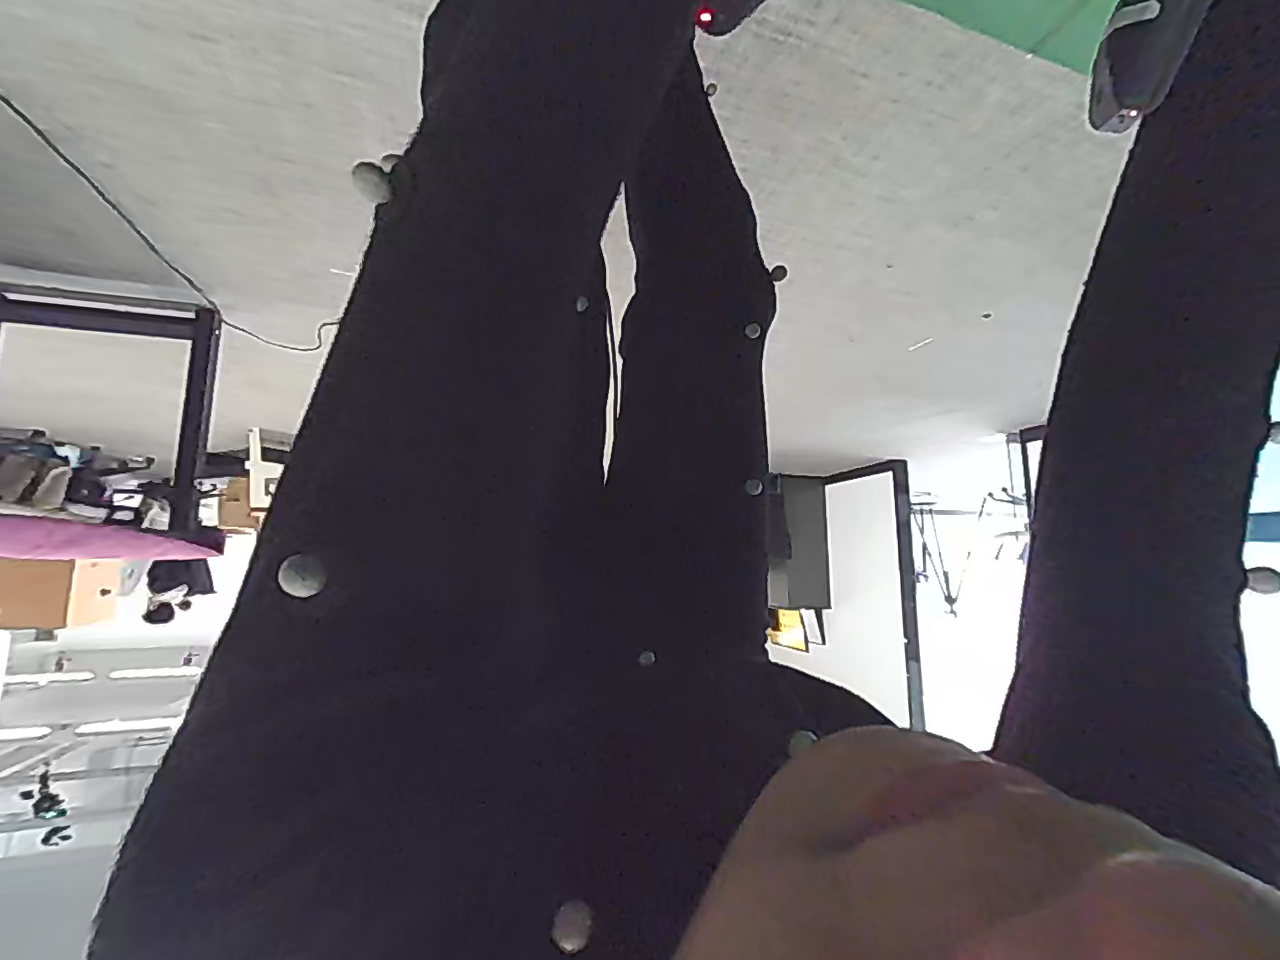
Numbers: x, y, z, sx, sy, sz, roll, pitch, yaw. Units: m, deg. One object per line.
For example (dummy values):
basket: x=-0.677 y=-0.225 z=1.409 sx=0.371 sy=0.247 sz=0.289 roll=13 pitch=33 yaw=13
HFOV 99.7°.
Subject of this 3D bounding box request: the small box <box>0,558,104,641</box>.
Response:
small box: x=-1.370 y=0.265 z=1.224 sx=0.179 sy=0.176 sz=0.168 roll=3 pitch=170 yaw=-16
